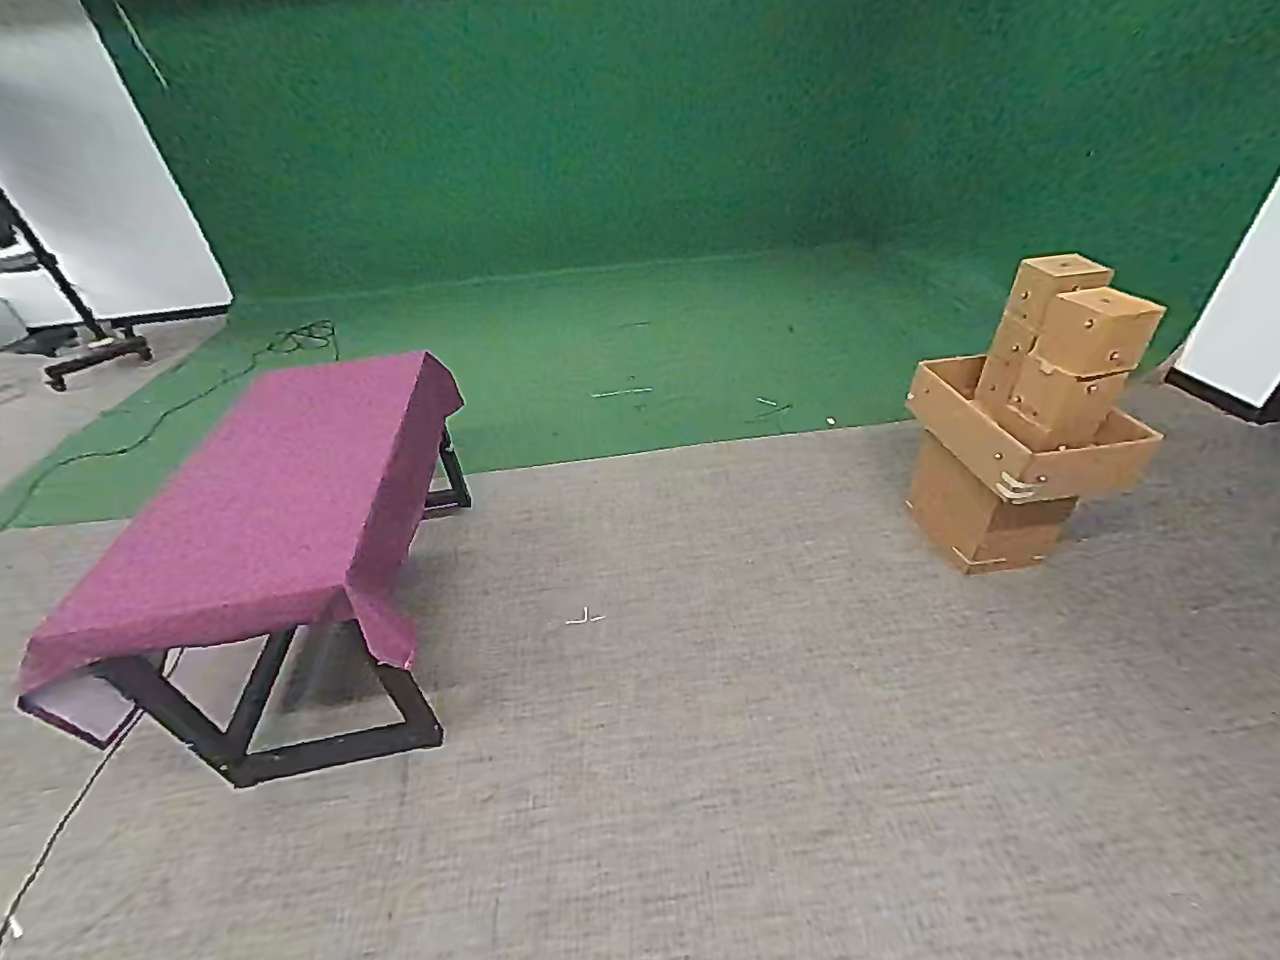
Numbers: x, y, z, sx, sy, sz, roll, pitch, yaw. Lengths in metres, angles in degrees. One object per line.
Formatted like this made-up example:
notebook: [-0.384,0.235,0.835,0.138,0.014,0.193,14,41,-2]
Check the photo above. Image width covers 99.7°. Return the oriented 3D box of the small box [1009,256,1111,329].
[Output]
small box: [1.292,-0.582,1.686,0.179,0.176,0.168,-4,40,0]

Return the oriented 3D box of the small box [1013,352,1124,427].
small box: [1.212,-0.264,1.547,0.179,0.176,0.168,-8,38,-5]

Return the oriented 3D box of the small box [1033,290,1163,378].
small box: [1.211,-0.393,1.450,0.168,0.176,0.179,-10,39,-8]

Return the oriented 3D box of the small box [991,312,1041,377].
small box: [1.298,-0.449,1.783,0.179,0.176,0.168,-5,39,-1]
